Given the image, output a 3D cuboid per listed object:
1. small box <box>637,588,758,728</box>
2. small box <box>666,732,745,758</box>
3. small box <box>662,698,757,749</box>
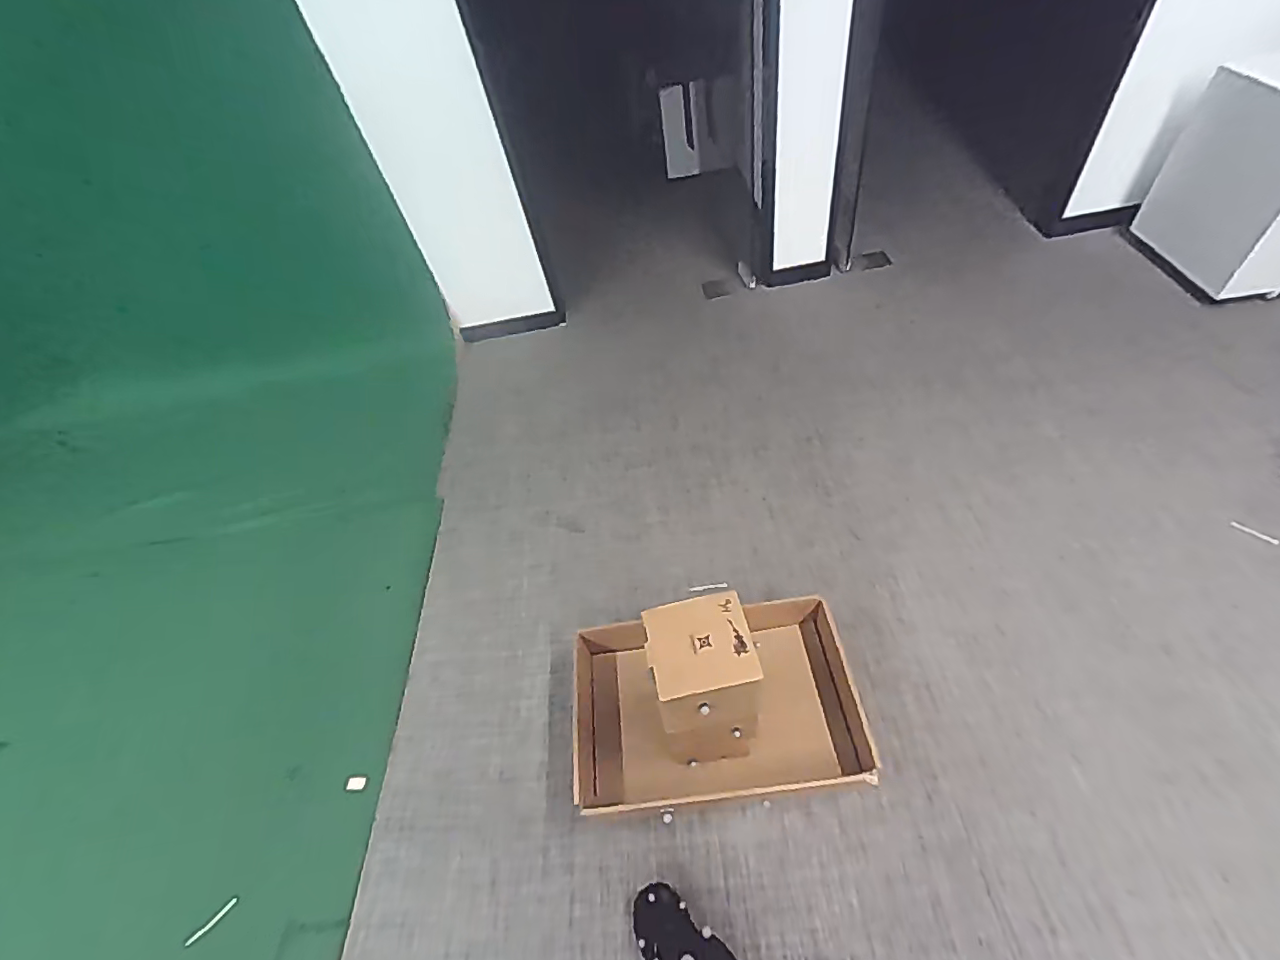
[{"bbox_3d":[0.105,0.327,0.980,0.179,0.176,0.168,-14,47,-2],"label":"small box"},{"bbox_3d":[0.143,0.521,1.236,0.168,0.176,0.179,-9,49,3],"label":"small box"},{"bbox_3d":[0.124,0.421,1.089,0.179,0.176,0.168,-14,49,-1],"label":"small box"}]
